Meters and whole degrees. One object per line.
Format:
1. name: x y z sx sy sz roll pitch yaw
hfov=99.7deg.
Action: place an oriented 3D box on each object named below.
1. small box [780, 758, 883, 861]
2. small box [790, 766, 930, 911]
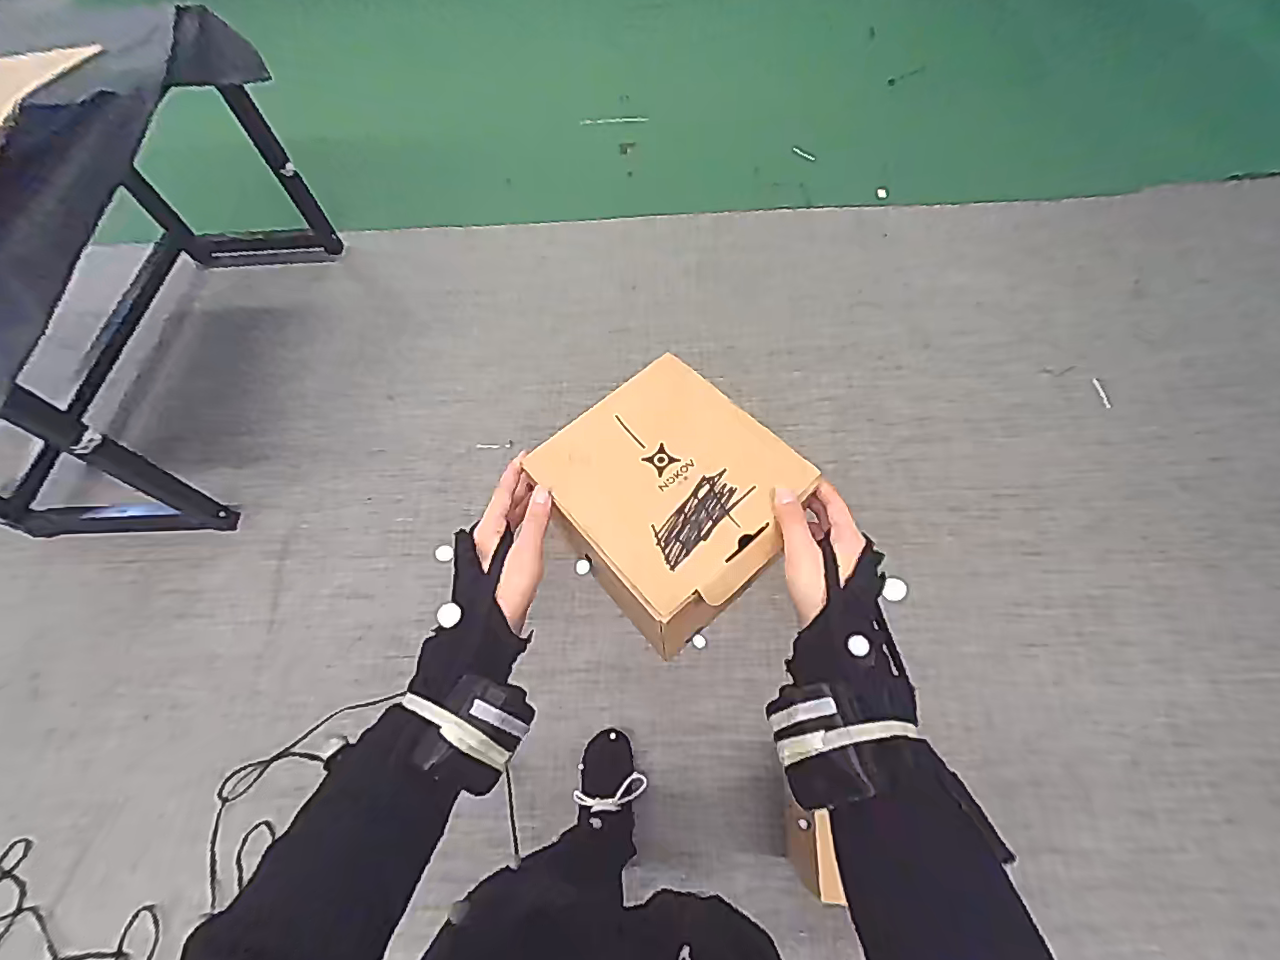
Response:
1. small box: 0.369 0.642 1.041 0.168 0.176 0.179 2 61 4
2. small box: 0.349 0.577 0.892 0.168 0.176 0.179 2 62 4
